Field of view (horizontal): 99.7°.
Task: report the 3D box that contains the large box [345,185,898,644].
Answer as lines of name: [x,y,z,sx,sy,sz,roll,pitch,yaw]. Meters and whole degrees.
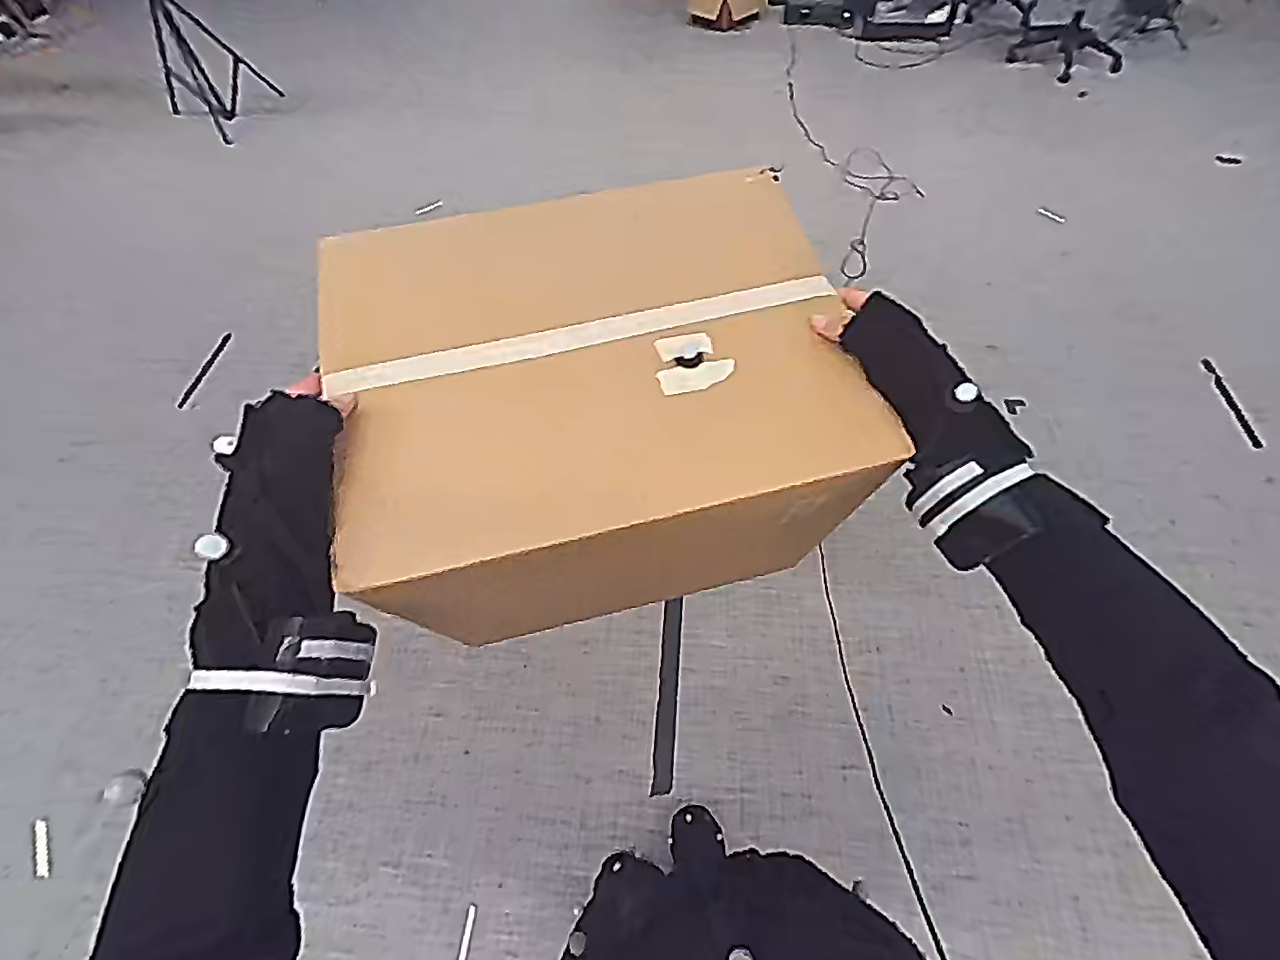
large box: [-0.036,-0.046,0.575,0.408,0.320,0.320,-12,67,-6]
